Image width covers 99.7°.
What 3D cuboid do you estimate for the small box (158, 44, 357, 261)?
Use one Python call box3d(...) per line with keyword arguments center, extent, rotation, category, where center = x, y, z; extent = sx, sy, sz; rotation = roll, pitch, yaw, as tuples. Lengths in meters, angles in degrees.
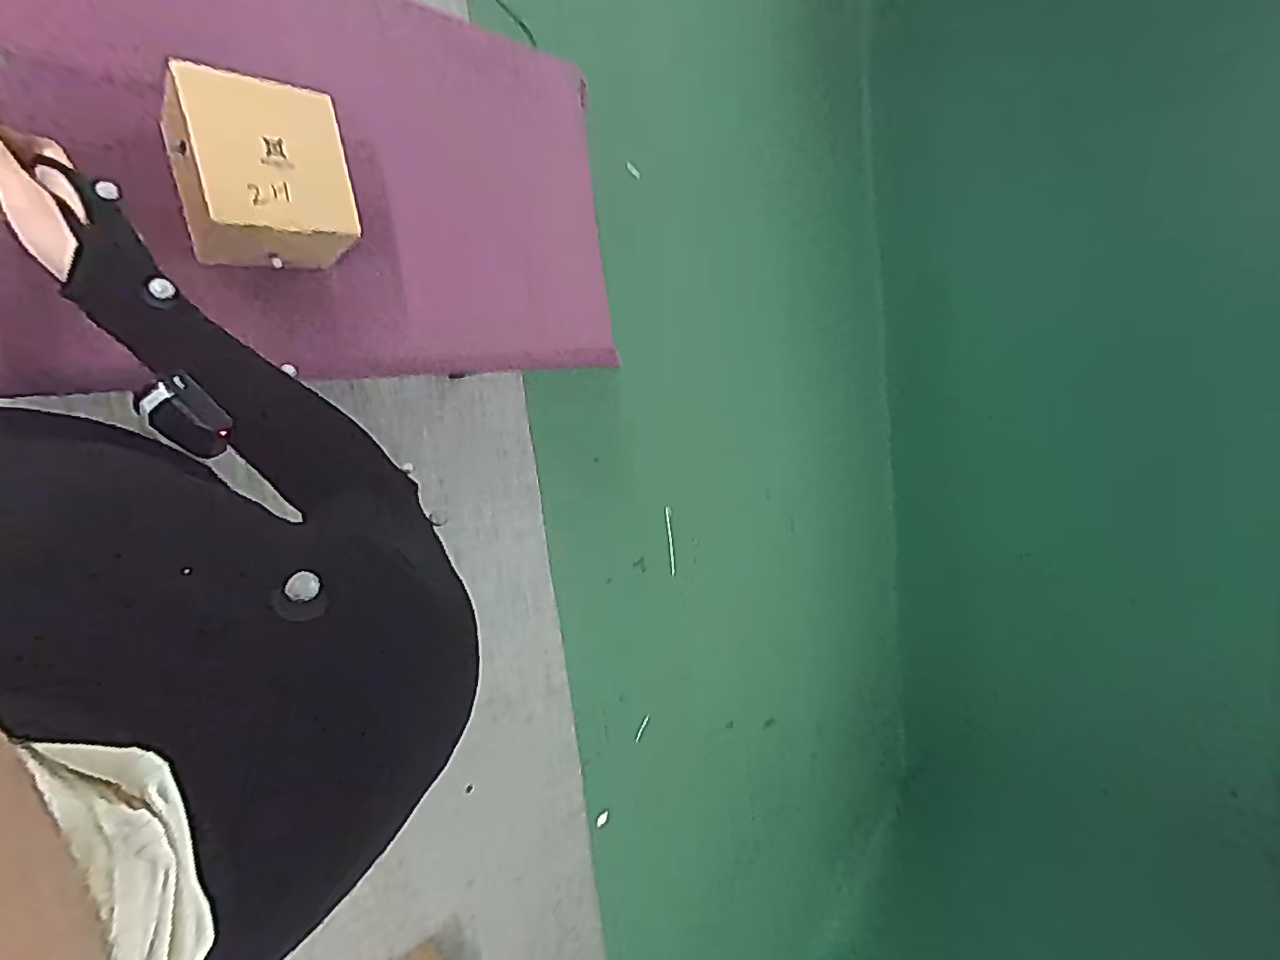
box3d(center=(-0.501, -0.405, 0.708), extent=(0.168, 0.176, 0.179), rotation=(-17, 103, -42), category="small box")
